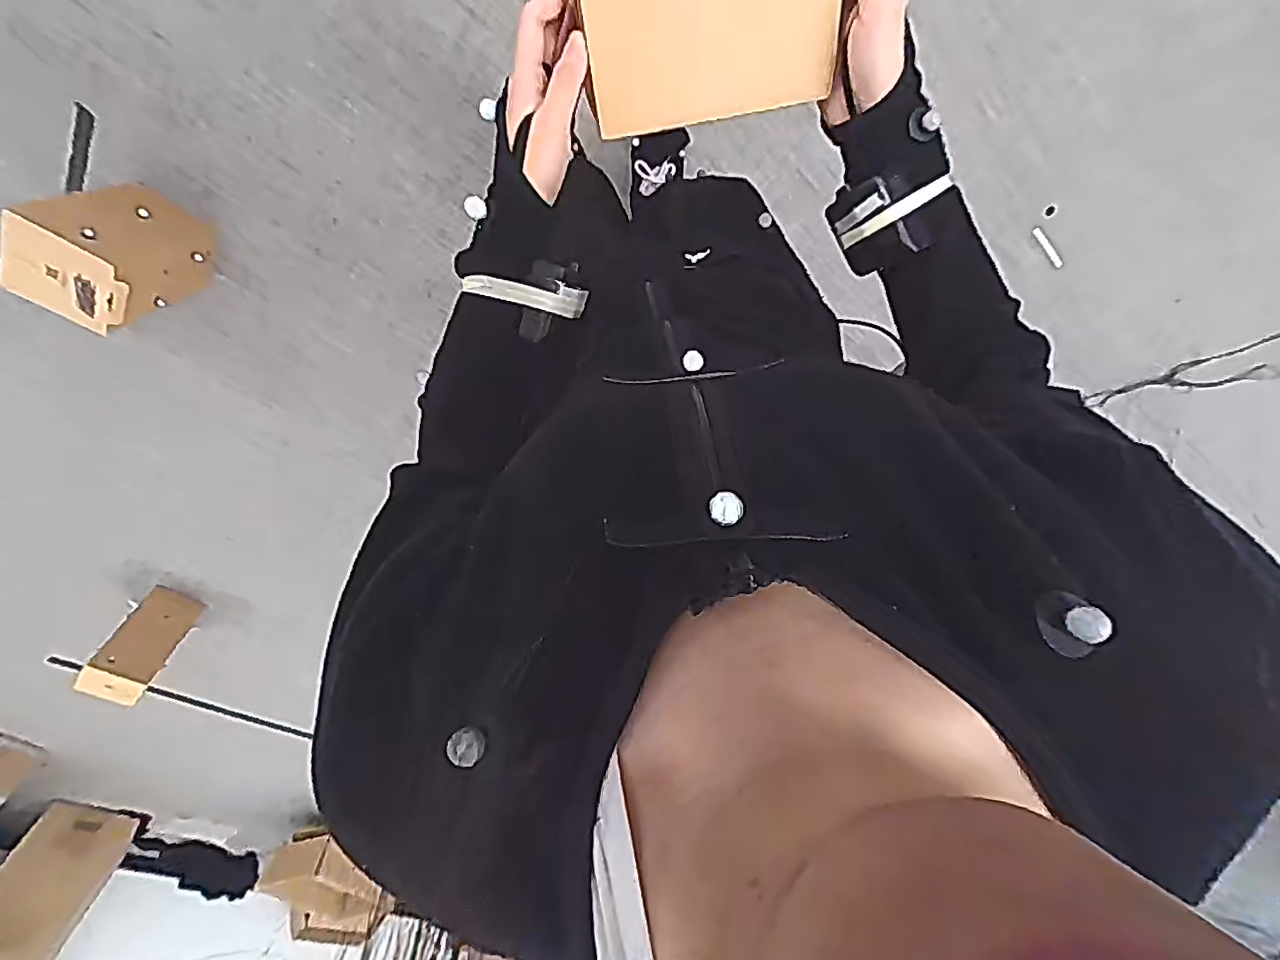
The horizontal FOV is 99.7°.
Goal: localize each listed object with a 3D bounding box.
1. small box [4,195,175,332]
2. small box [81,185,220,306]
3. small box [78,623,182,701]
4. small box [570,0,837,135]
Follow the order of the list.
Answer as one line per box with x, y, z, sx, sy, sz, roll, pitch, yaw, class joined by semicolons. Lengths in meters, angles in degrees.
-1.075;-0.431;1.068;0.179;0.176;0.168;29;120;-22;small box
-1.085;-0.527;1.202;0.179;0.176;0.168;29;120;-21;small box
-1.703;0.604;1.812;0.179;0.176;0.168;36;118;-26;small box
0.031;-0.371;0.372;0.168;0.176;0.179;-11;136;0;small box
